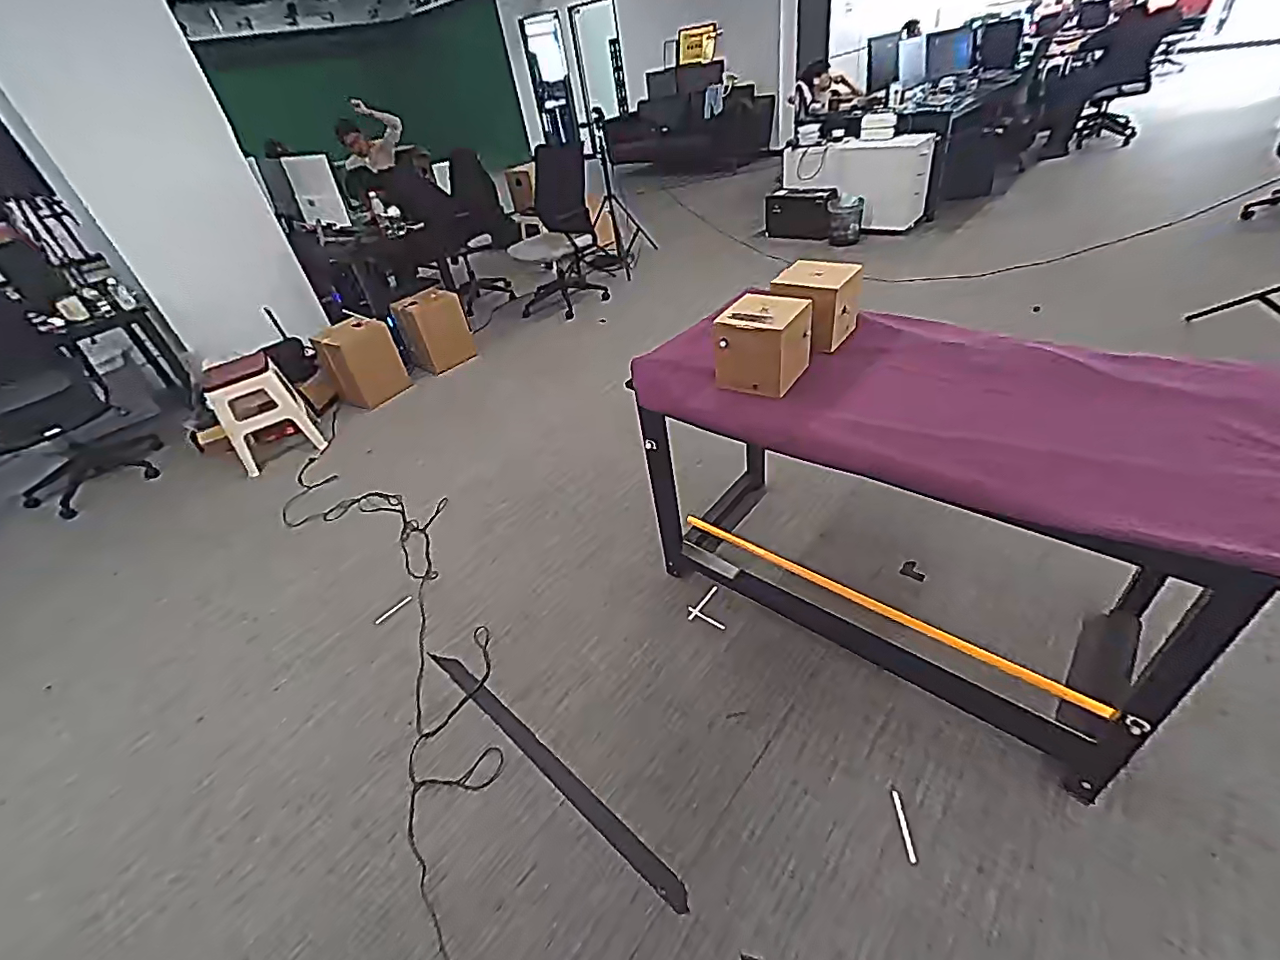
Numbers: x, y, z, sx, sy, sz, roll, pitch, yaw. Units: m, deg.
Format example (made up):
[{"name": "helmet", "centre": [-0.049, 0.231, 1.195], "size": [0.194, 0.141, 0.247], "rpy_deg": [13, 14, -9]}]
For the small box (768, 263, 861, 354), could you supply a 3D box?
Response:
[{"name": "small box", "centre": [0.448, -0.442, 1.399], "size": [0.179, 0.176, 0.168], "rpy_deg": [20, 47, 33]}]
